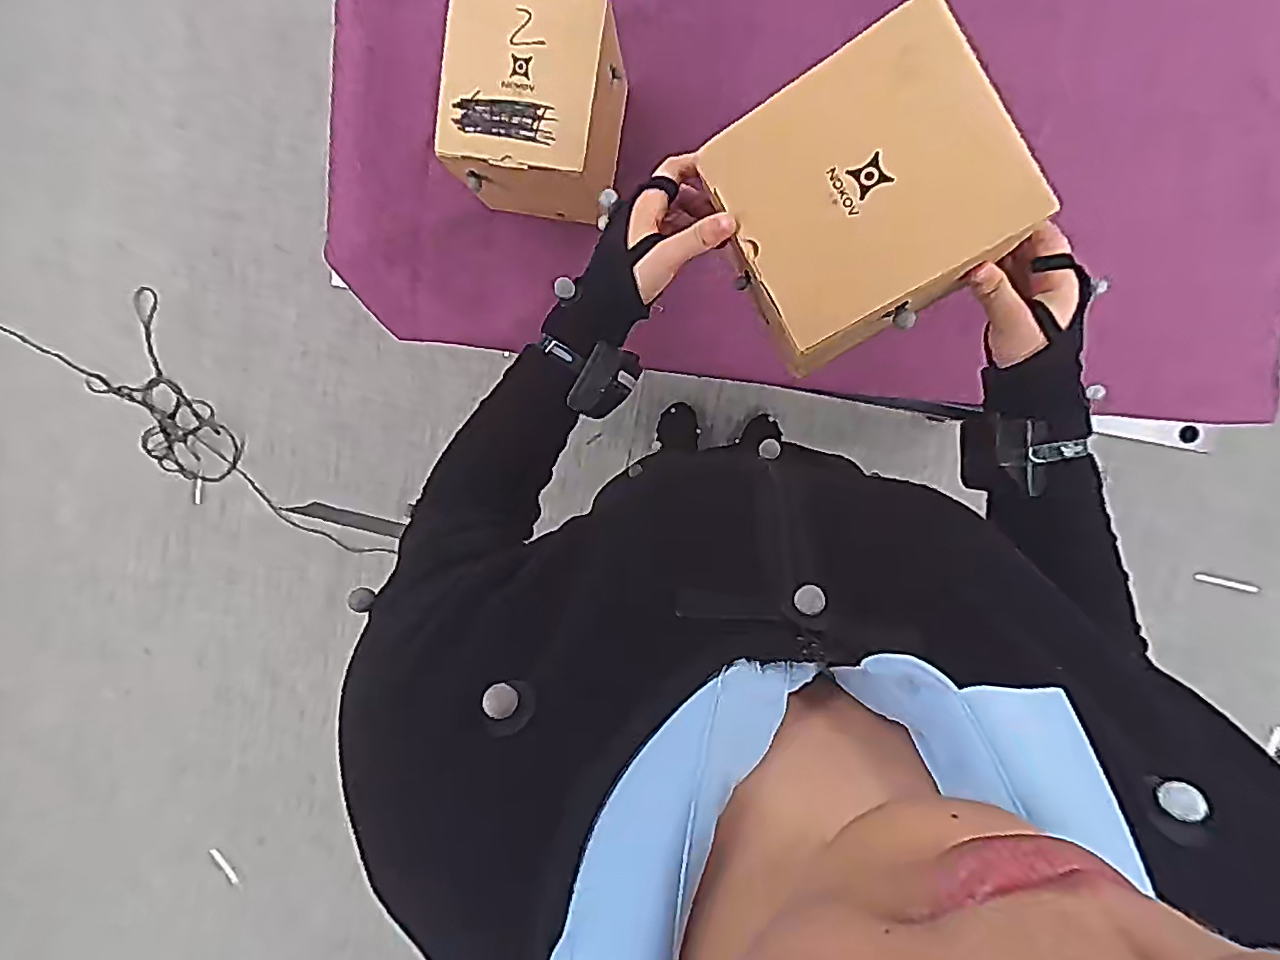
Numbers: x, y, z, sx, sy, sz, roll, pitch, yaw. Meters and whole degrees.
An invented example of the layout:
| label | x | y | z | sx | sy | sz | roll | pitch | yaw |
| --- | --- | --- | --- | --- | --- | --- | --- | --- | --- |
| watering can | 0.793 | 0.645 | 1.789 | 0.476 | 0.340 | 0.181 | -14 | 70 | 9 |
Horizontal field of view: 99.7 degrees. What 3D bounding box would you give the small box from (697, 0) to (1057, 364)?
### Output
| label | x | y | z | sx | sy | sz | roll | pitch | yaw |
| --- | --- | --- | --- | --- | --- | --- | --- | --- | --- |
| small box | 0.169 | -0.209 | 0.432 | 0.179 | 0.176 | 0.168 | -28 | 89 | 18 |
